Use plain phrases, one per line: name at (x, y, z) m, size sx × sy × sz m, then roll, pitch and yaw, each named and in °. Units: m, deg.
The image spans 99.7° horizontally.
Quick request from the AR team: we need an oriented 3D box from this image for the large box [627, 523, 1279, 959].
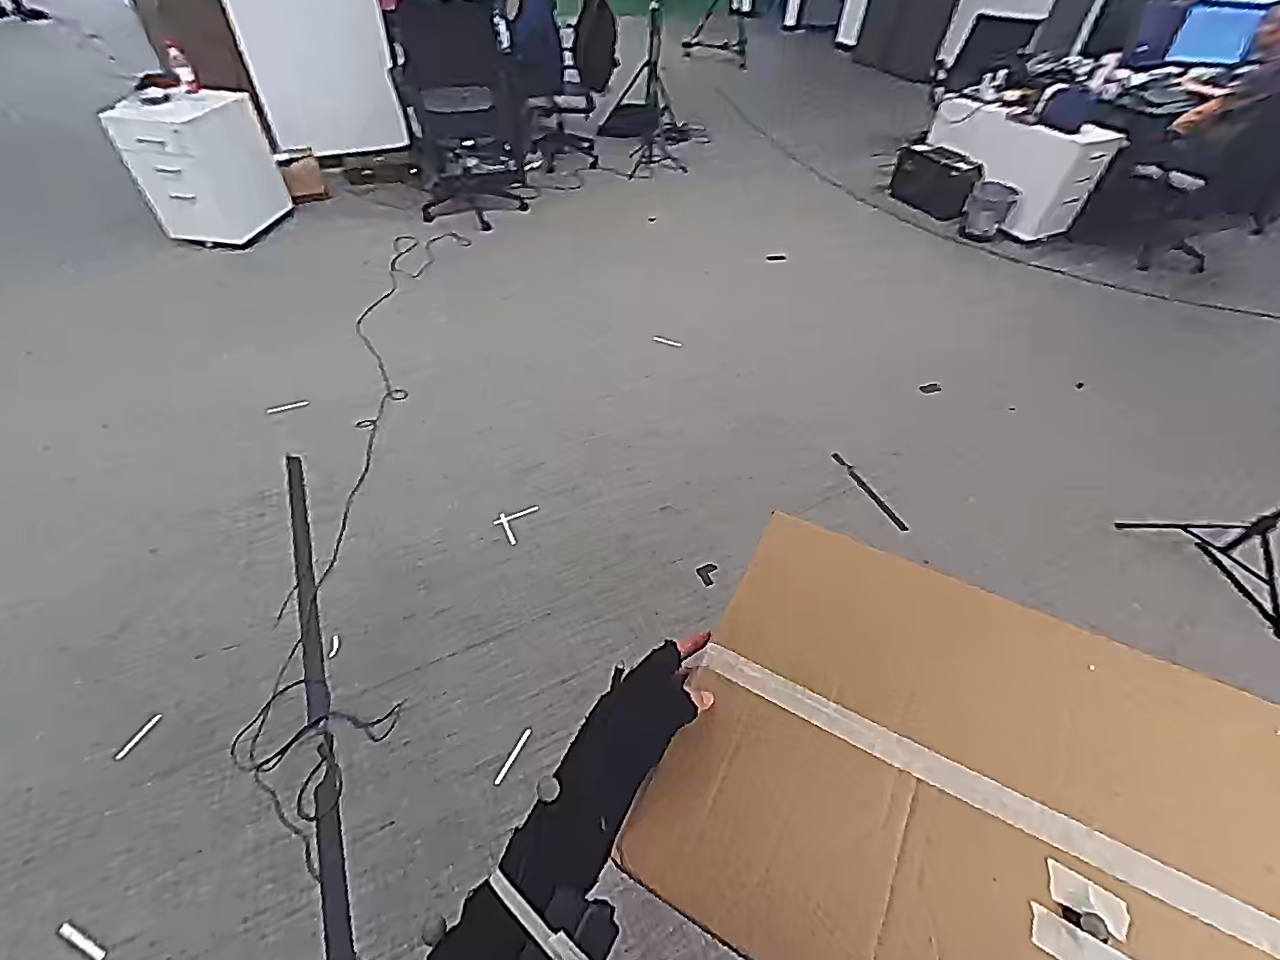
large box at (0.242, 0.305, 0.502) m, size 0.408 × 0.320 × 0.320 m, roll 22°, pitch 59°, yaw 20°
